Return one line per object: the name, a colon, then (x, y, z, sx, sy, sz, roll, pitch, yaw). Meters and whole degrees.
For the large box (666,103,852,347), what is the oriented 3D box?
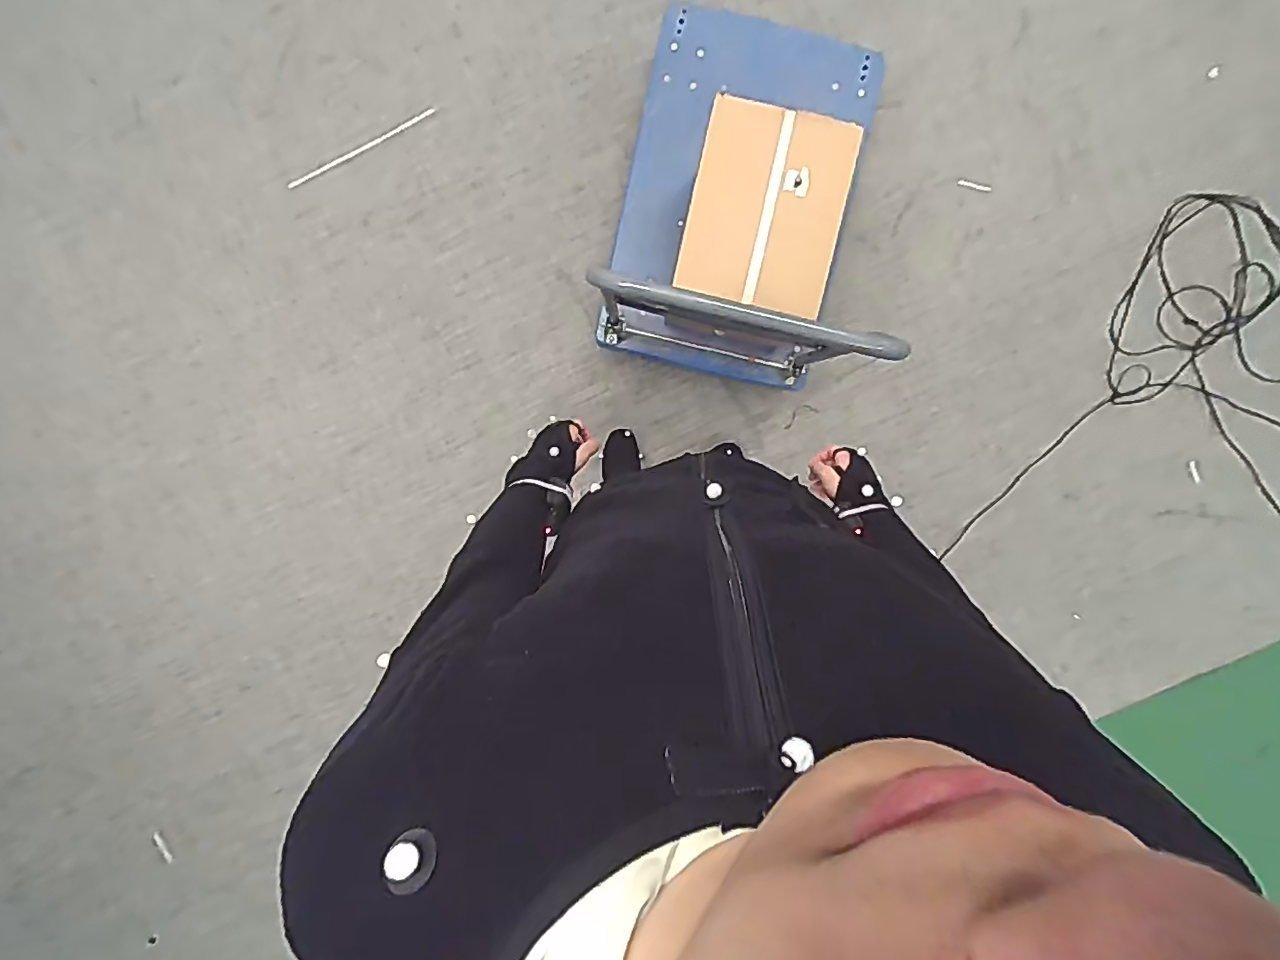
large box: (0.253, -0.564, 1.279, 0.320, 0.320, 0.408, 13, 94, -2)
